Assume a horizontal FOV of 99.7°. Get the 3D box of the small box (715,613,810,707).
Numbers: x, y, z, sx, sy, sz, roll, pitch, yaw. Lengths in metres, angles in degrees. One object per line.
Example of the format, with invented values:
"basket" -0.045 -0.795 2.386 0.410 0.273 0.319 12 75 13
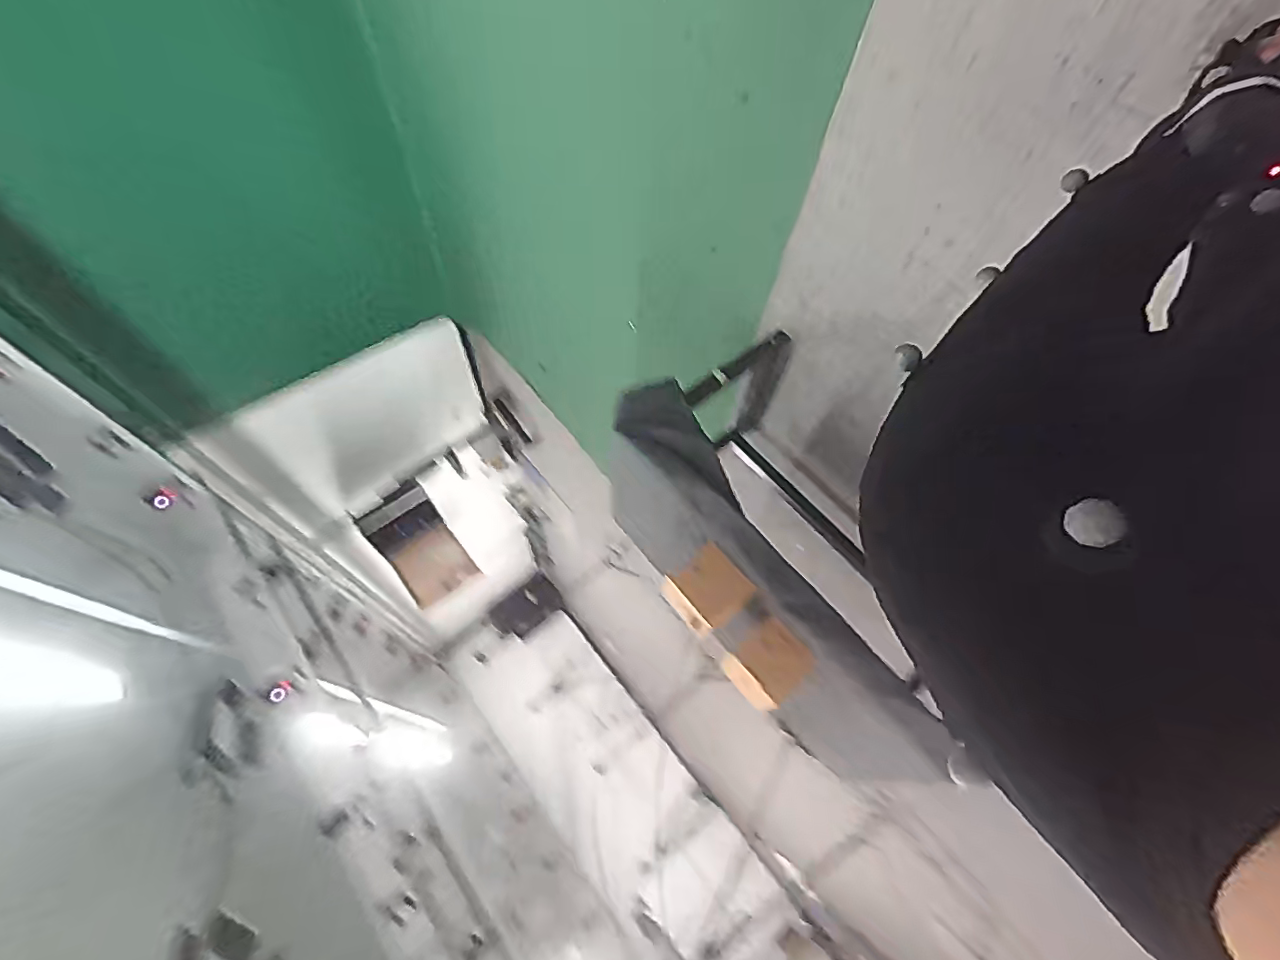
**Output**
"small box" 0.331 0.484 1.460 0.168 0.176 0.179 49 160 19
